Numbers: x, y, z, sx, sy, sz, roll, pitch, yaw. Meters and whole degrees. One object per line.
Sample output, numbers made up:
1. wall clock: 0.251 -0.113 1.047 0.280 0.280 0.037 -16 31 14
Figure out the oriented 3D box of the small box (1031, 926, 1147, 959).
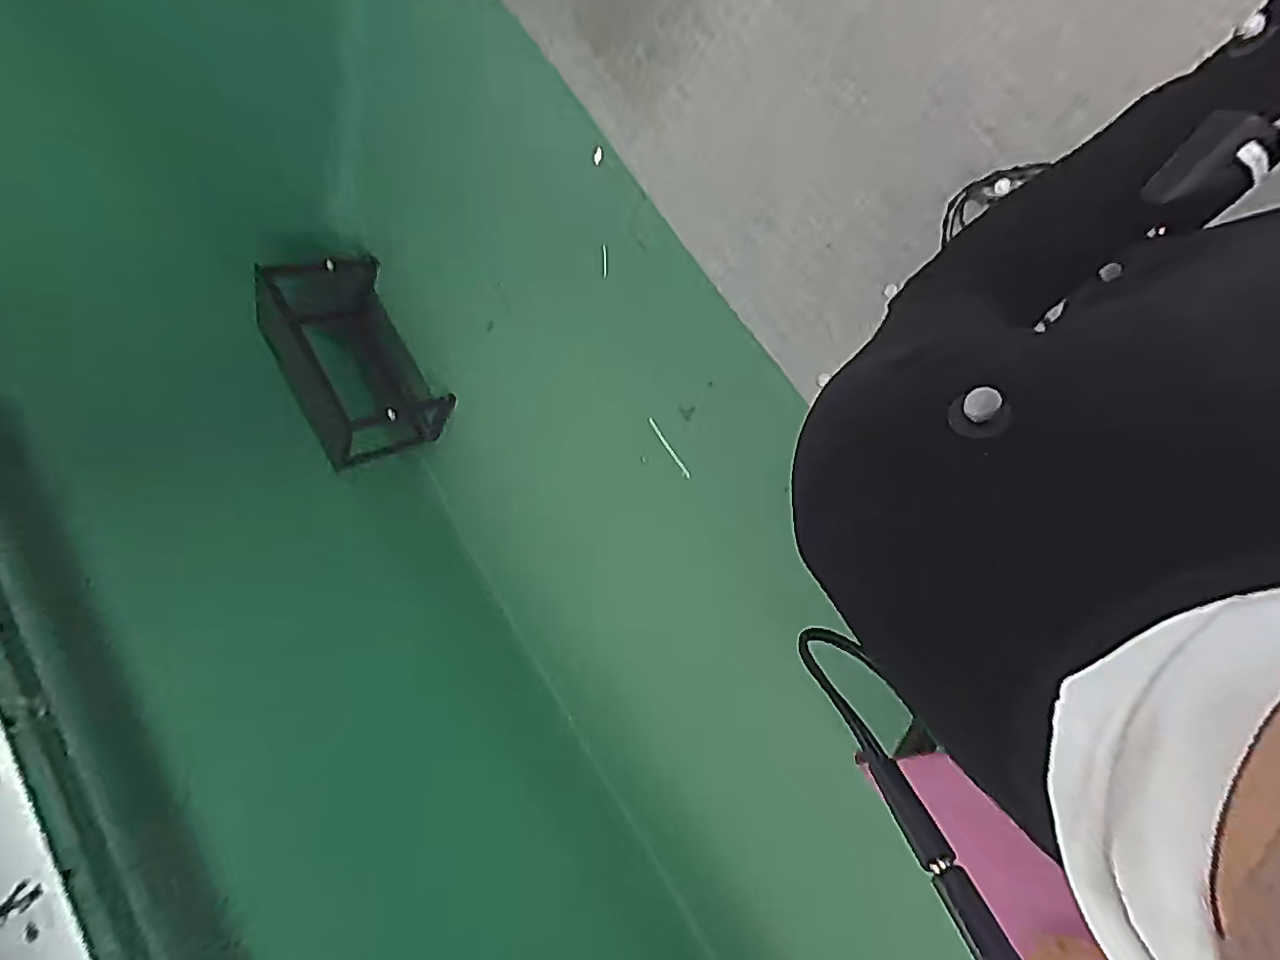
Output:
1. small box: 0.801 0.924 0.920 0.179 0.176 0.168 56 140 10
